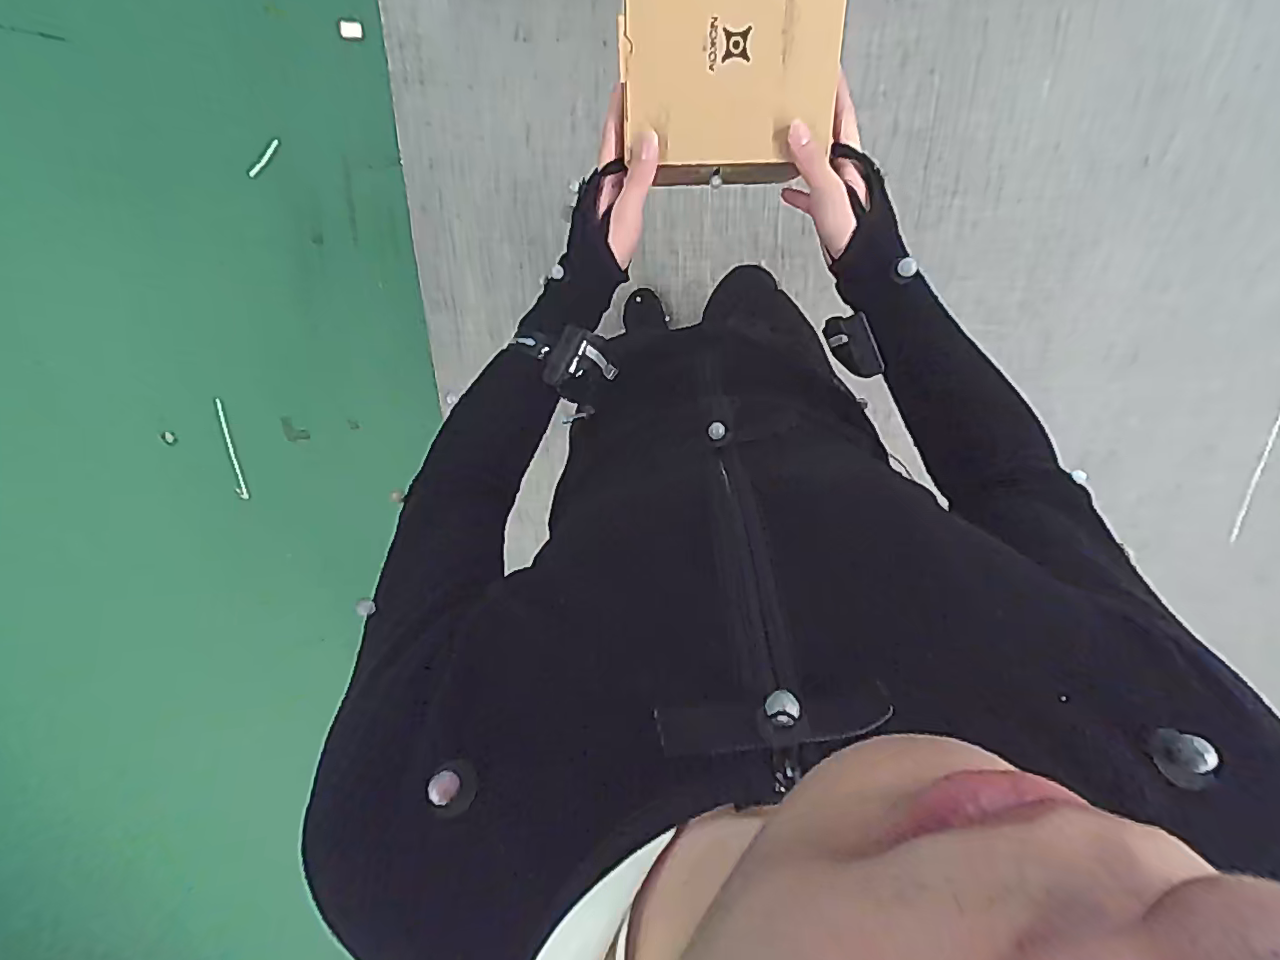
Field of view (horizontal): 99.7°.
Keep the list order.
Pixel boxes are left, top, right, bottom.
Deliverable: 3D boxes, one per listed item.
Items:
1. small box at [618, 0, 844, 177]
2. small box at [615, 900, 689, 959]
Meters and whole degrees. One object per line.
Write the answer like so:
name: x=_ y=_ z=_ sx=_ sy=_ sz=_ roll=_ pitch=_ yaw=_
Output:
small box: x=0.074 y=-0.383 z=0.499 sx=0.179 sy=0.176 sz=0.168 roll=1 pitch=114 yaw=2
small box: x=0.026 y=1.109 z=1.240 sx=0.168 sy=0.176 sz=0.179 roll=0 pitch=111 yaw=-1
